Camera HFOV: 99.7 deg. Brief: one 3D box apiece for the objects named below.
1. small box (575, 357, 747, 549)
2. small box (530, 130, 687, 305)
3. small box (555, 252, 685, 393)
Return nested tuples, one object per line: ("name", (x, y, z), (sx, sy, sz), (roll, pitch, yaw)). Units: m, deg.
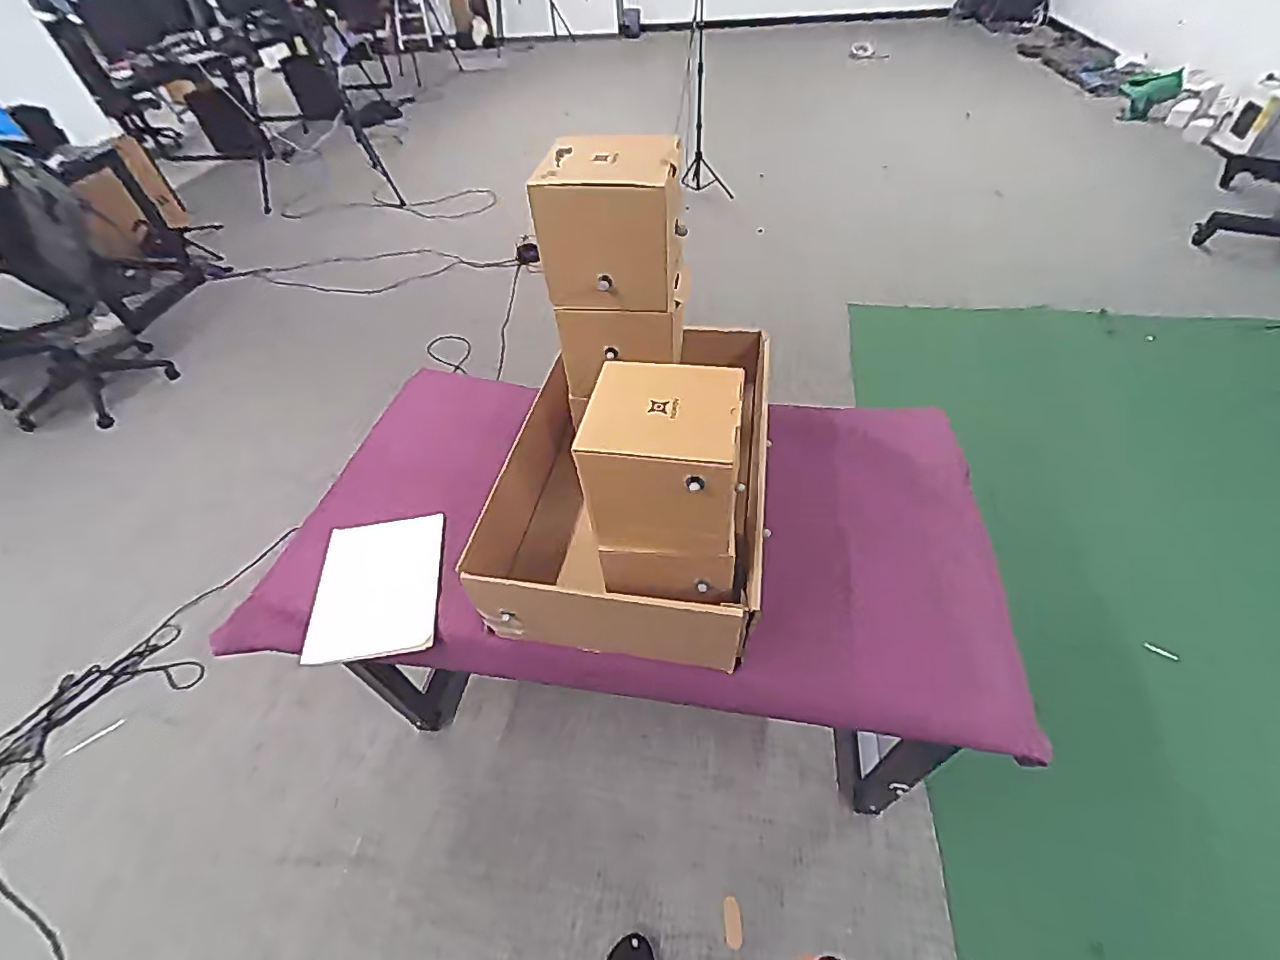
("small box", (0.034, -0.032, 0.669), (0.179, 0.176, 0.168), (6, 48, 9))
("small box", (-0.032, -0.362, 0.752), (0.179, 0.176, 0.168), (6, 50, 8))
("small box", (-0.022, -0.252, 0.874), (0.179, 0.176, 0.168), (3, 50, 7))
